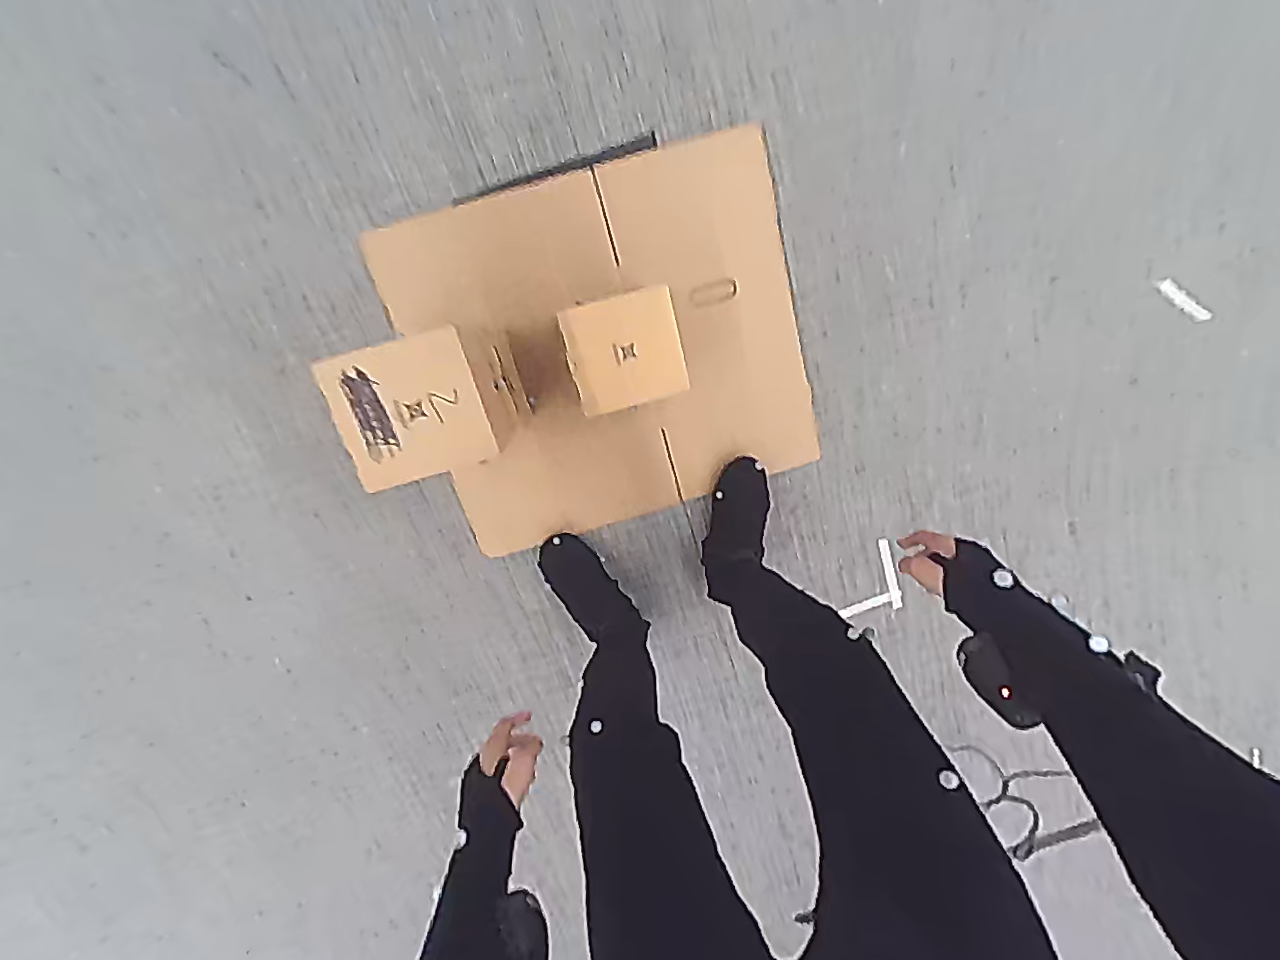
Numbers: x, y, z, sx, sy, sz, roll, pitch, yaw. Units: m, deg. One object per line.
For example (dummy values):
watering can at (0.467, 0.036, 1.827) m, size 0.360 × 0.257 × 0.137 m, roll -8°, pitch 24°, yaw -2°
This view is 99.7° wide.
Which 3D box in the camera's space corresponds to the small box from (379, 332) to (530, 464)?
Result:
small box at (-0.288, -0.144, 0.891) m, size 0.179 × 0.176 × 0.168 m, roll -16°, pitch 106°, yaw 0°

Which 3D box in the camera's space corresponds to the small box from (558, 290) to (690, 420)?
small box at (-0.031, -0.212, 0.903) m, size 0.179 × 0.176 × 0.168 m, roll -16°, pitch 106°, yaw -2°
